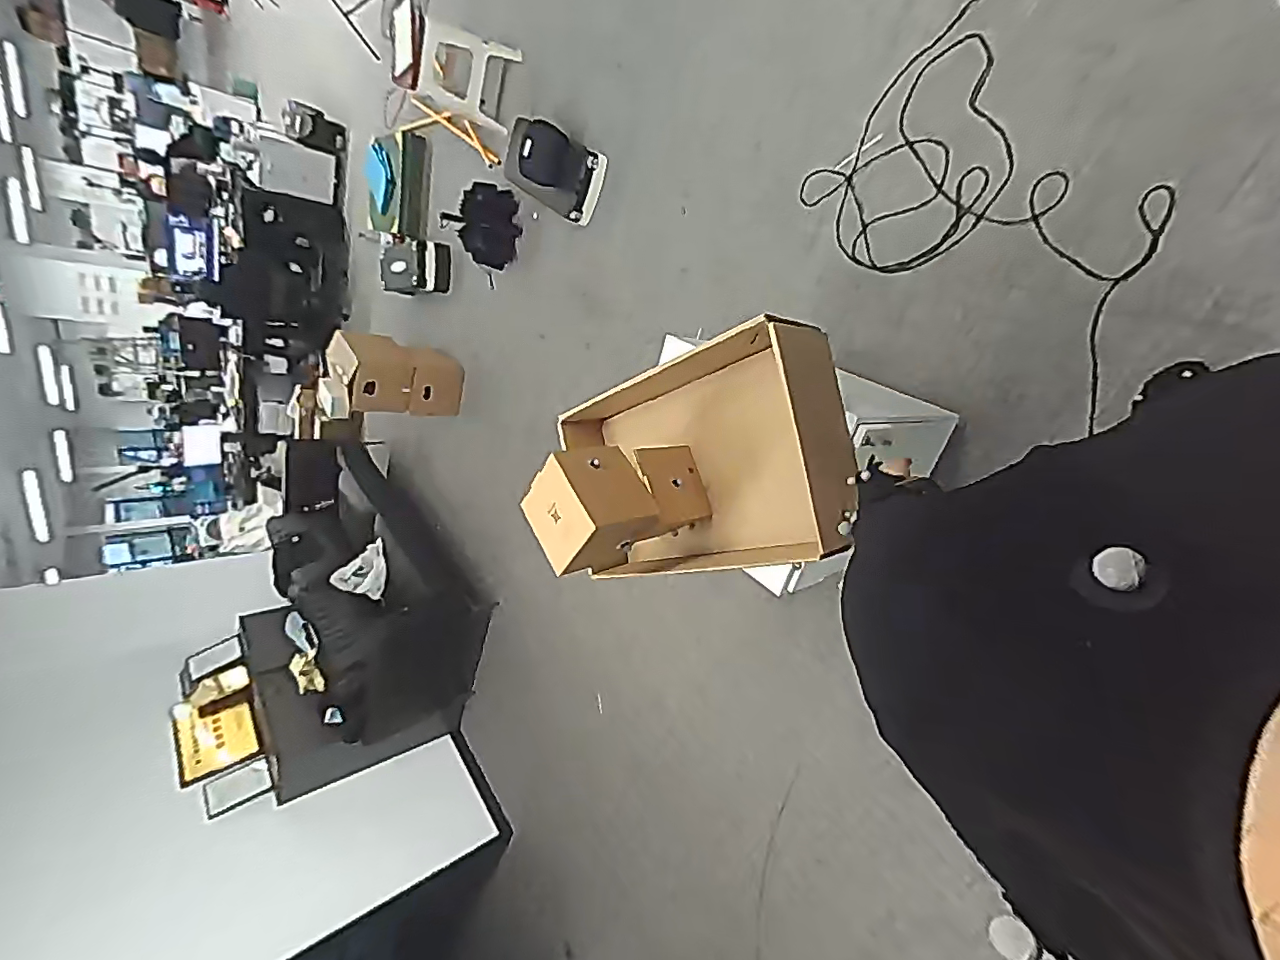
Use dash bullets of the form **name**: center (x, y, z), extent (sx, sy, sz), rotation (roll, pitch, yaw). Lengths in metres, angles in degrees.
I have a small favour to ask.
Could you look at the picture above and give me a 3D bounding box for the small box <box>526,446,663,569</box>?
- **small box**: center (-0.090, 0.046, 1.061), extent (0.179, 0.176, 0.168), rotation (56, 132, 23)
